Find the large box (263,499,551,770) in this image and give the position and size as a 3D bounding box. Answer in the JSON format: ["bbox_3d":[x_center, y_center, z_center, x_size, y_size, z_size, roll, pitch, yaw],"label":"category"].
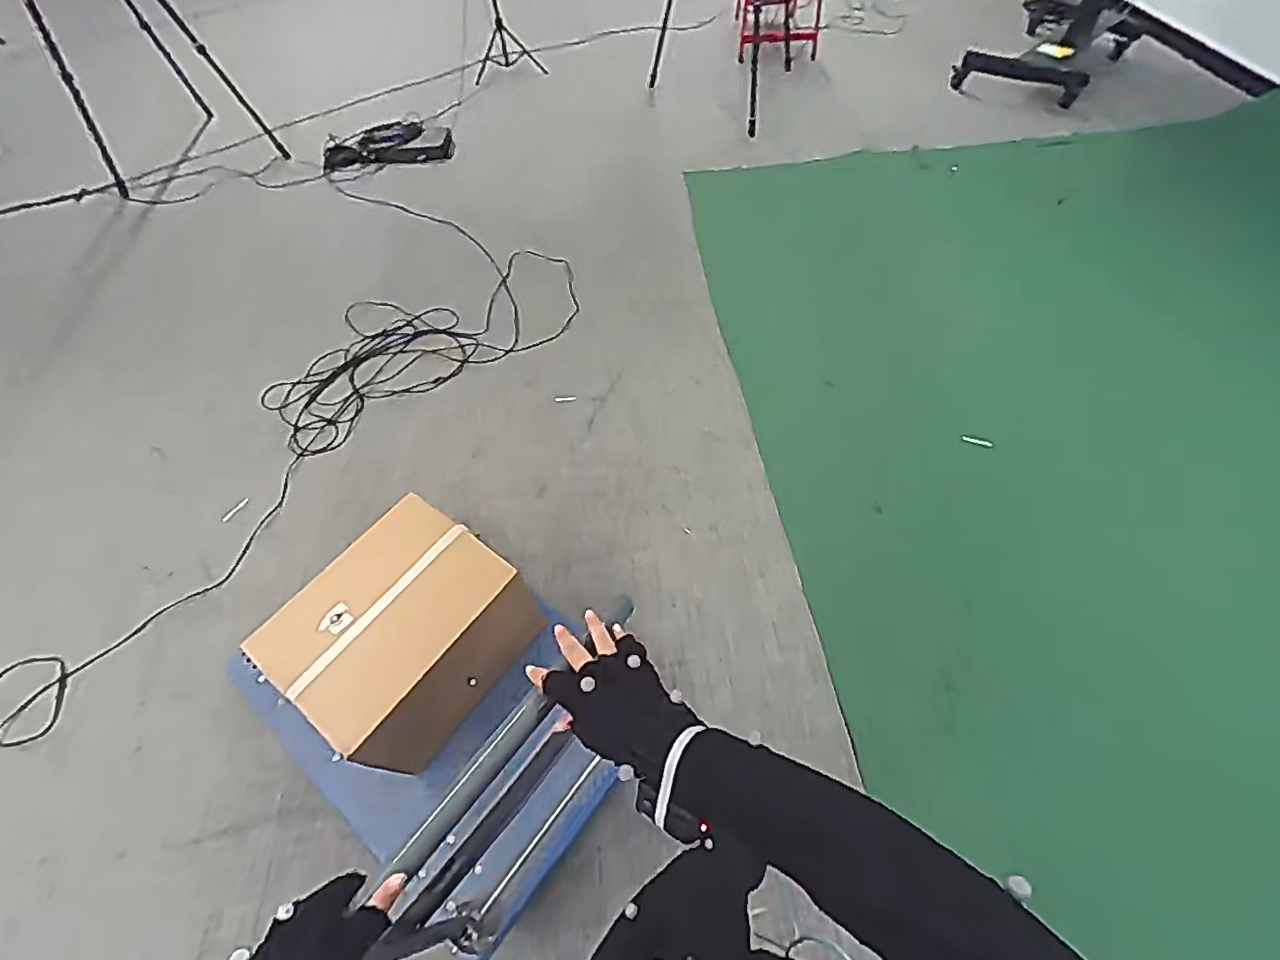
[{"bbox_3d":[-0.451,0.327,1.146,0.320,0.320,0.408,31,65,22],"label":"large box"}]
